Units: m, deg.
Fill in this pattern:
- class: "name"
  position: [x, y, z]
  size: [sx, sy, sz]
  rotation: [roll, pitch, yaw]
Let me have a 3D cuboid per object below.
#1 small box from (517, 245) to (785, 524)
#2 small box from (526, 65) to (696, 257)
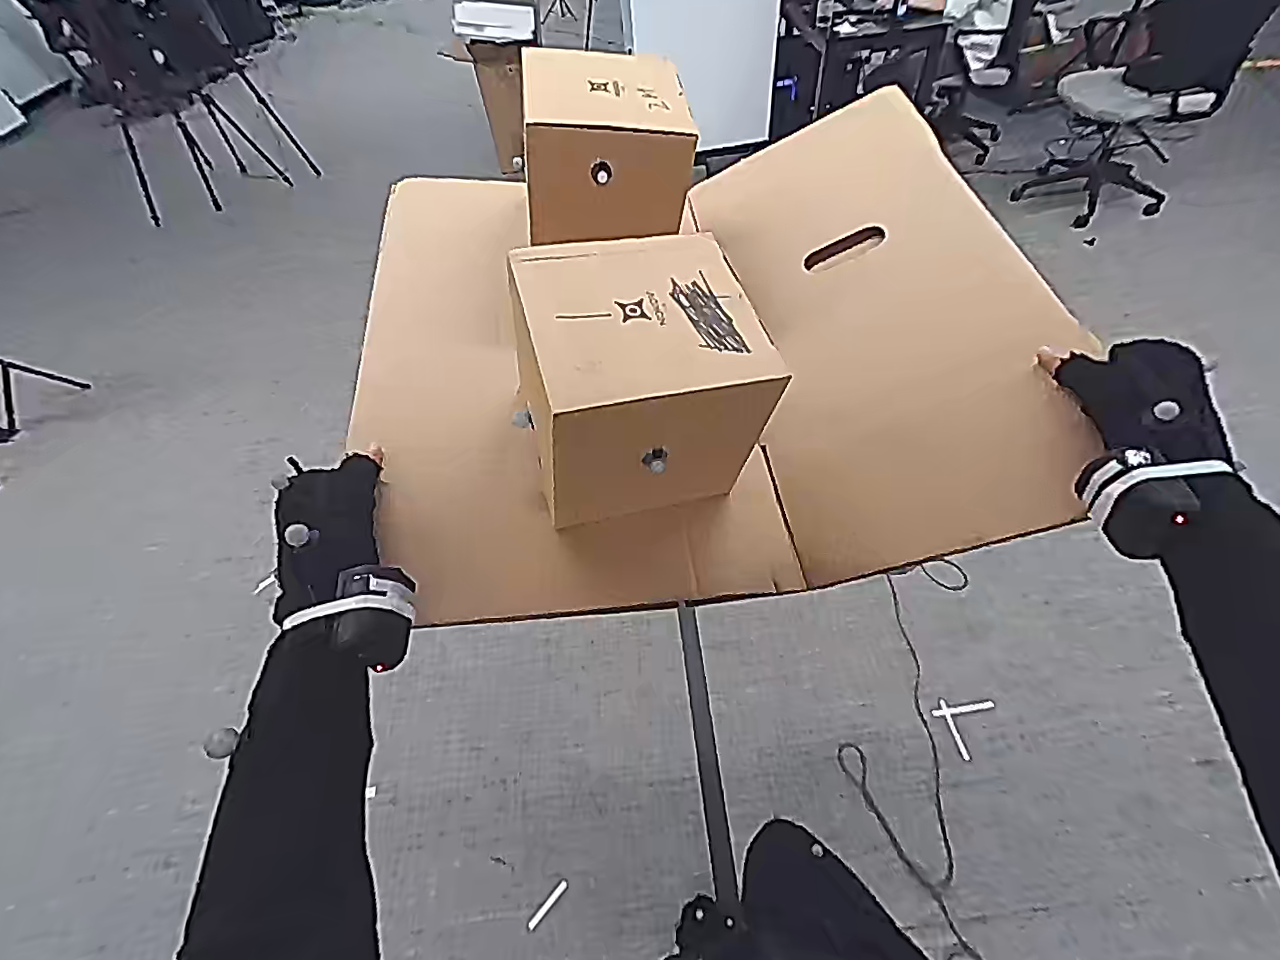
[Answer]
- class: "small box"
  position: [-0.005, -0.080, 0.482]
  size: [0.179, 0.176, 0.168]
  rotation: [-11, 61, -14]
- class: "small box"
  position: [-0.044, -0.363, 0.653]
  size: [0.179, 0.176, 0.168]
  rotation: [-2, 59, -10]
